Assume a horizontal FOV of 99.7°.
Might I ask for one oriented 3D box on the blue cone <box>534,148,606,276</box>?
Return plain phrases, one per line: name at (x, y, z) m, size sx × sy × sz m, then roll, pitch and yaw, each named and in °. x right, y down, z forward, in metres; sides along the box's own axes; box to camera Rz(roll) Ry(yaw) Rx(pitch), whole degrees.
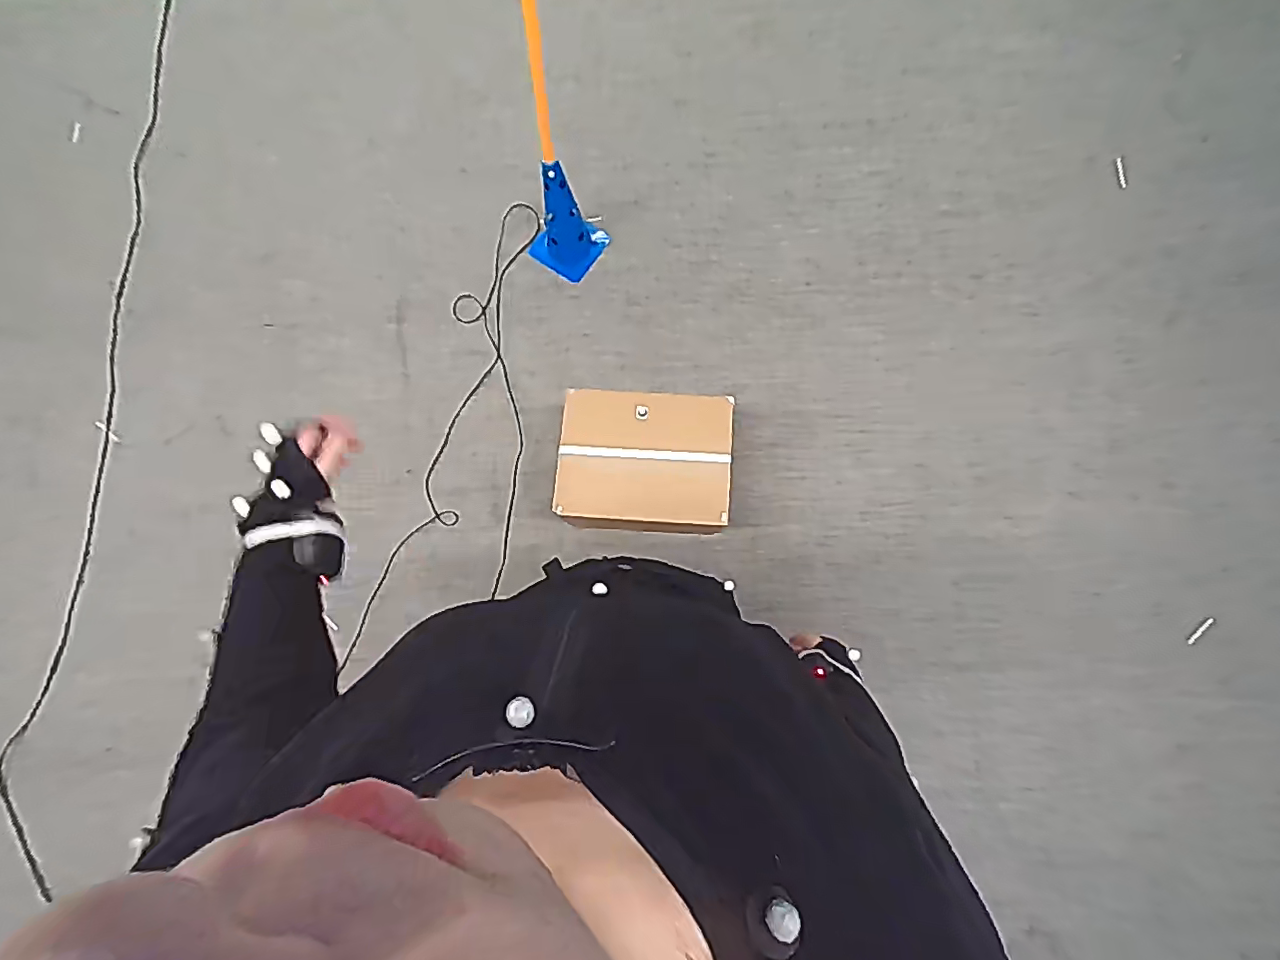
blue cone at (-0.220, -0.778, 1.528) m, size 0.192 × 0.380 × 0.193 m, roll 31°, pitch 80°, yaw 6°
